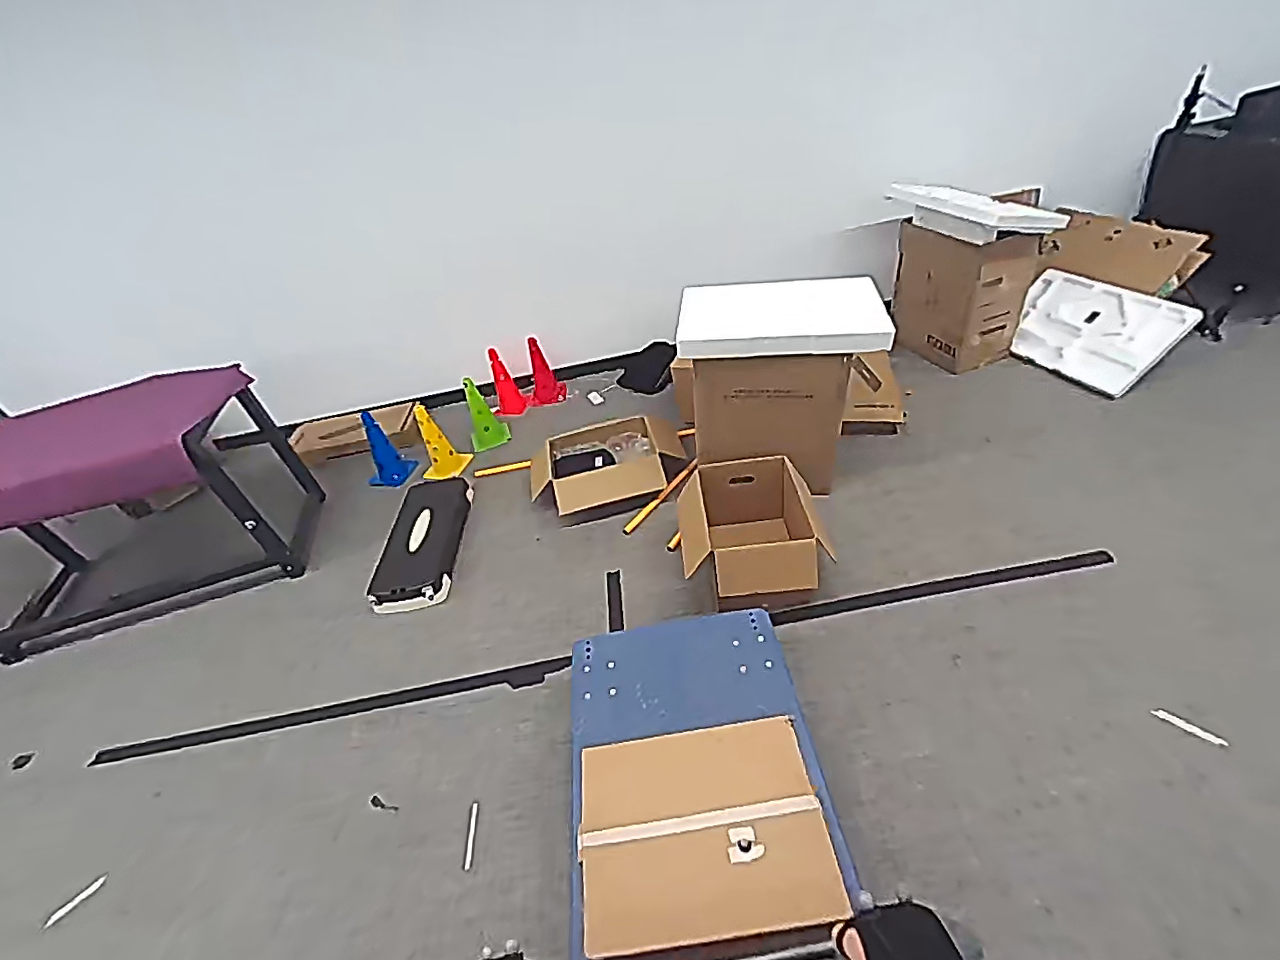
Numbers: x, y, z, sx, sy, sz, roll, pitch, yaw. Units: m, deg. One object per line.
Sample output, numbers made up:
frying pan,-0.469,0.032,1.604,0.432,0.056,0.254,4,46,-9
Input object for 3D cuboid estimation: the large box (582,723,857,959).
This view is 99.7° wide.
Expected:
large box,0.122,0.697,0.982,0.408,0.320,0.320,-10,39,0
